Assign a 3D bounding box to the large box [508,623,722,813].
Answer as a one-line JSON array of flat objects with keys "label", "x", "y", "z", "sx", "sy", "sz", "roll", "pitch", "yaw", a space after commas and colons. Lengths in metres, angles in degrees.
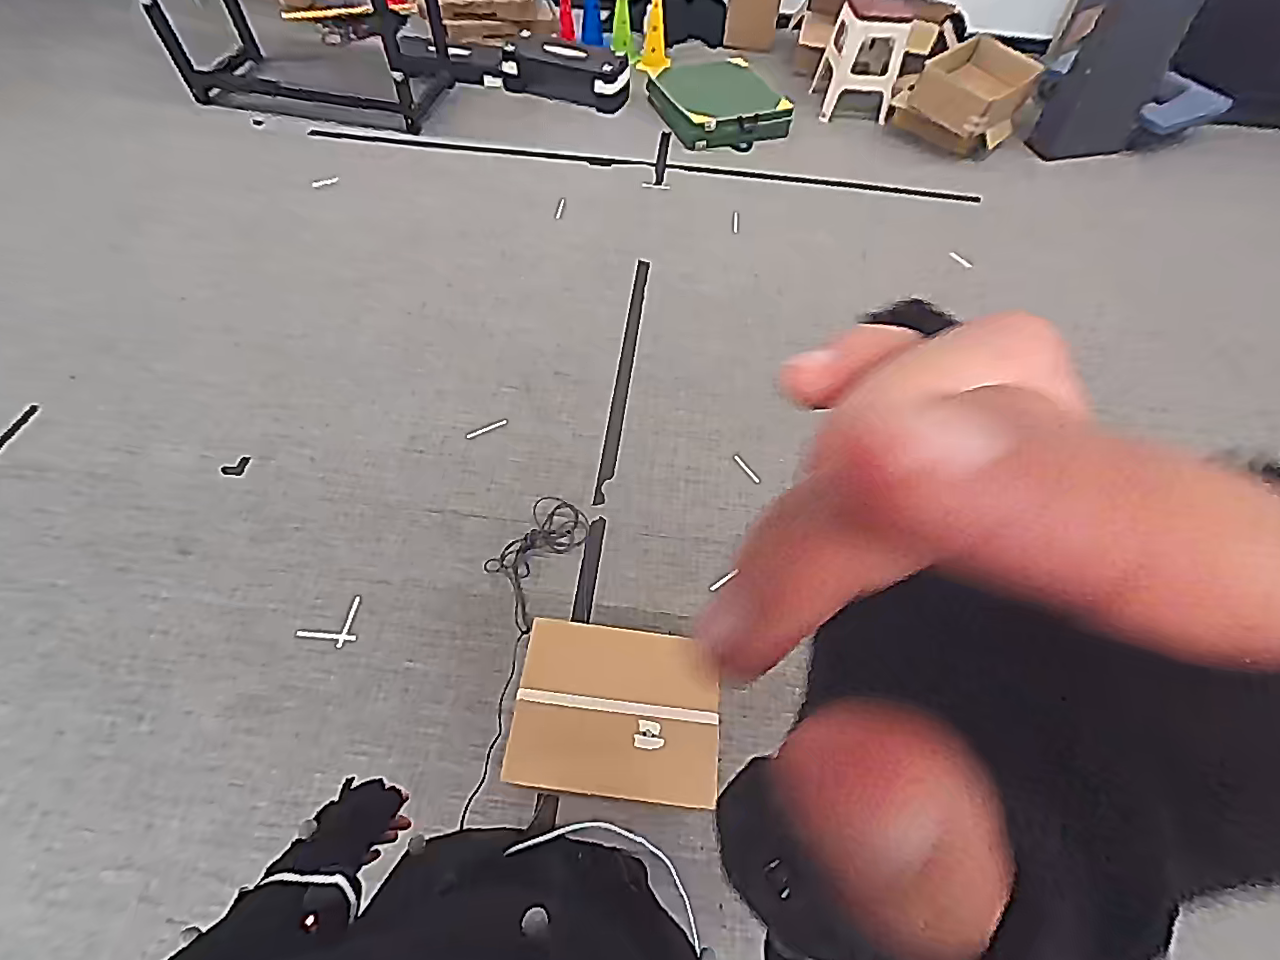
[{"label": "large box", "x": -0.050, "y": 0.539, "z": 1.205, "sx": 0.408, "sy": 0.320, "sz": 0.320, "roll": 8, "pitch": 58, "yaw": -1}]
